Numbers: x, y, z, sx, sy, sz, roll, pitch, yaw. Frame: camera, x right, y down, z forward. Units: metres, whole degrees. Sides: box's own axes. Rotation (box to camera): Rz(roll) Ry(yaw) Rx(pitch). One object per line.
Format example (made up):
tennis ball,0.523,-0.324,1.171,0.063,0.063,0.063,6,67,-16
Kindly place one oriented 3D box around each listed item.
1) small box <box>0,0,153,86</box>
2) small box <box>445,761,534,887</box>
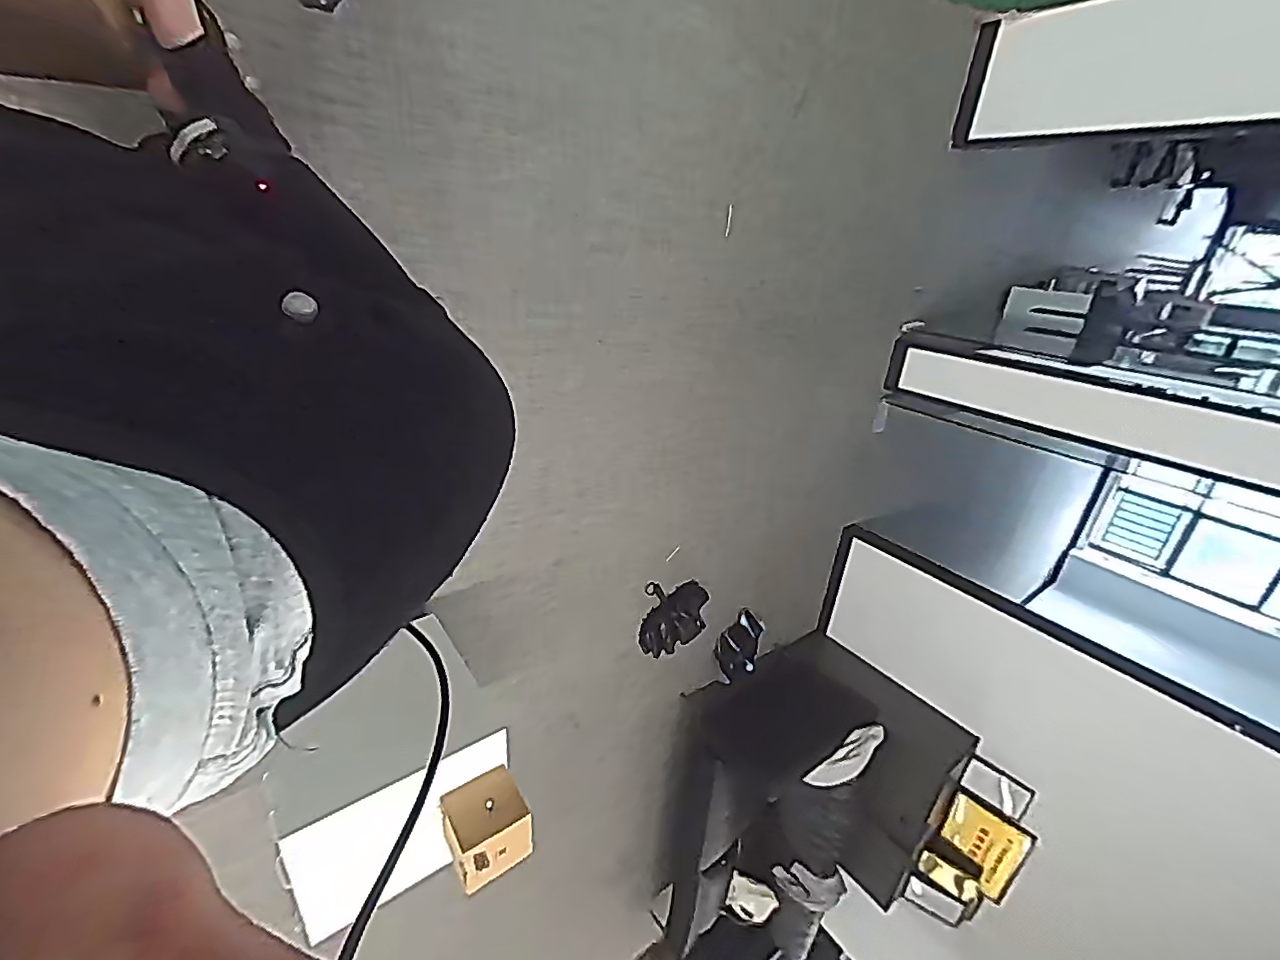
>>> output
small box,-0.447,-0.372,0.329,0.179,0.176,0.168,-14,111,-30
small box,-0.388,0.873,1.386,0.179,0.176,0.168,-15,122,-35
